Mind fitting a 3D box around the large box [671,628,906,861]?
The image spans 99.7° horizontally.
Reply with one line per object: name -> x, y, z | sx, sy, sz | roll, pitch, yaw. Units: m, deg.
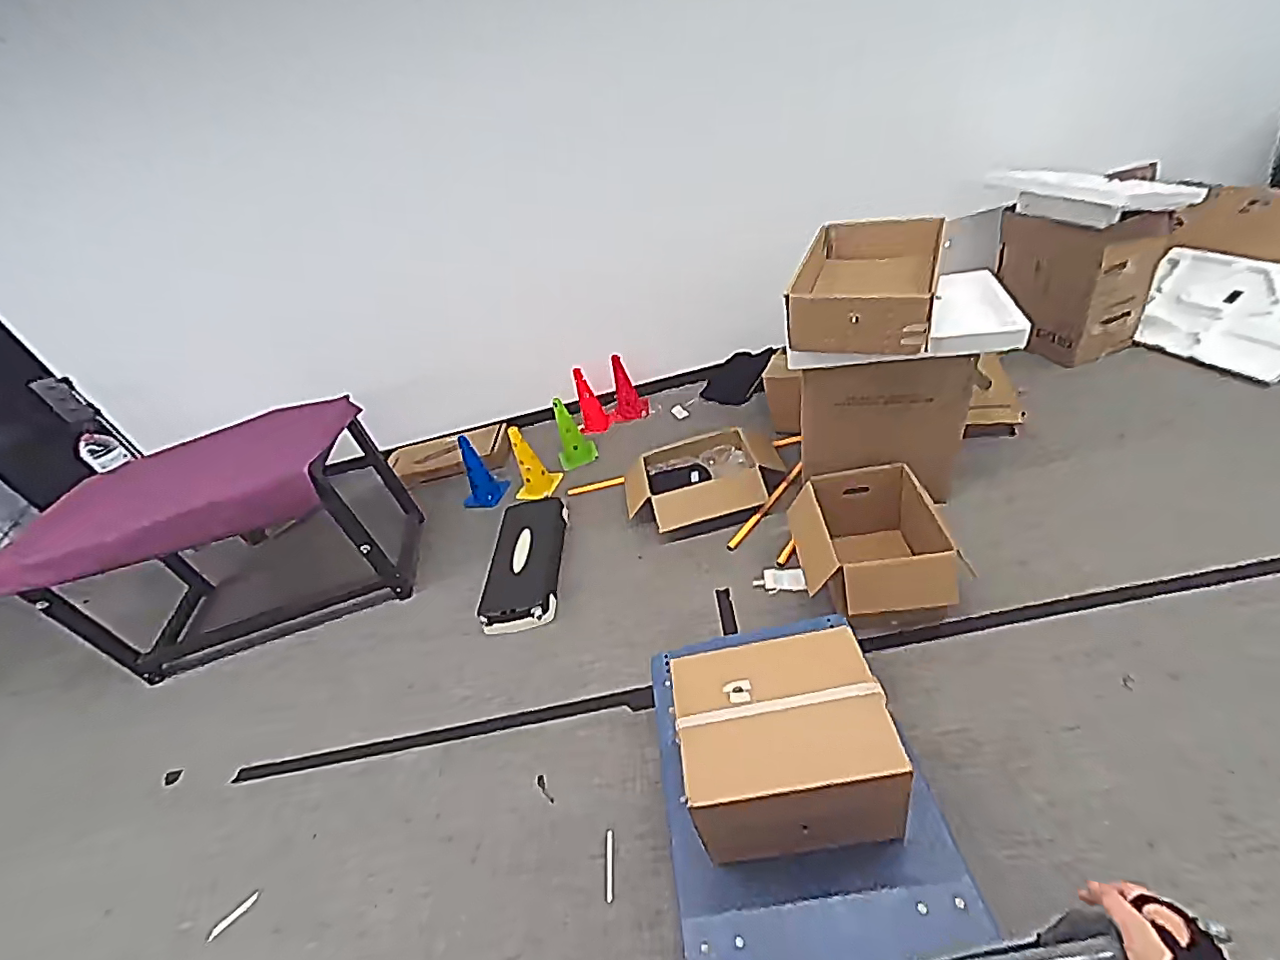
large box -> 0.309, 0.578, 1.181 | 0.408, 0.320, 0.320 | -14, 36, 6
